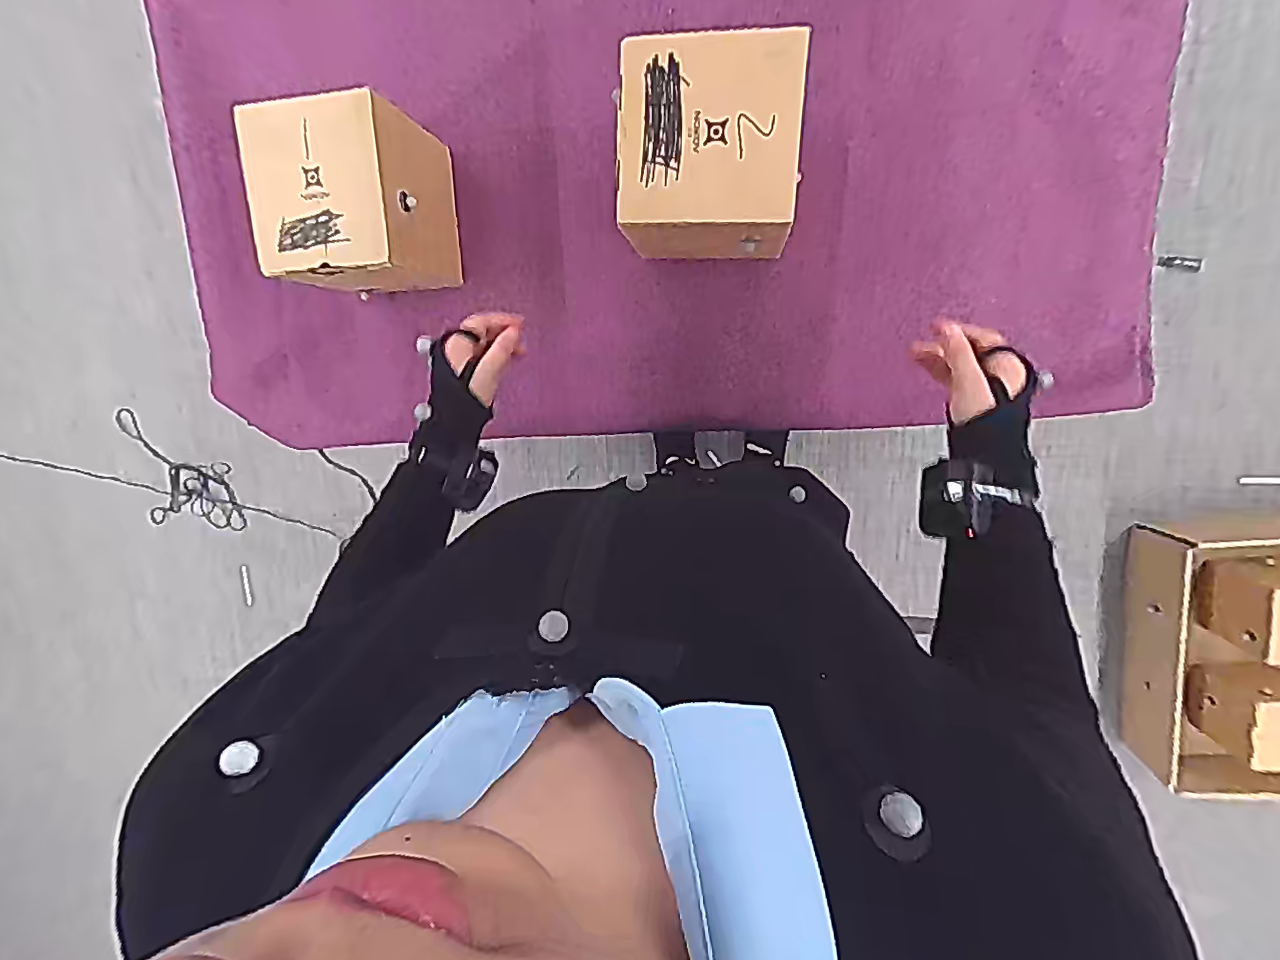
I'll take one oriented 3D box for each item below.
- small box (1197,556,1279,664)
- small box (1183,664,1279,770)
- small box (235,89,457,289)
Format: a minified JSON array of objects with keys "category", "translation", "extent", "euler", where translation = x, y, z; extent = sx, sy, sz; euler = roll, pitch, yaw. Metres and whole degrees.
[{"category":"small box","translation":[1.391,0.283,1.192],"extent":[0.168,0.176,0.179],"euler":[-6,101,10]},{"category":"small box","translation":[1.420,0.536,1.240],"extent":[0.179,0.176,0.168],"euler":[-4,100,11]},{"category":"small box","translation":[-0.341,-0.335,0.663],"extent":[0.168,0.176,0.179],"euler":[0,101,9]}]
